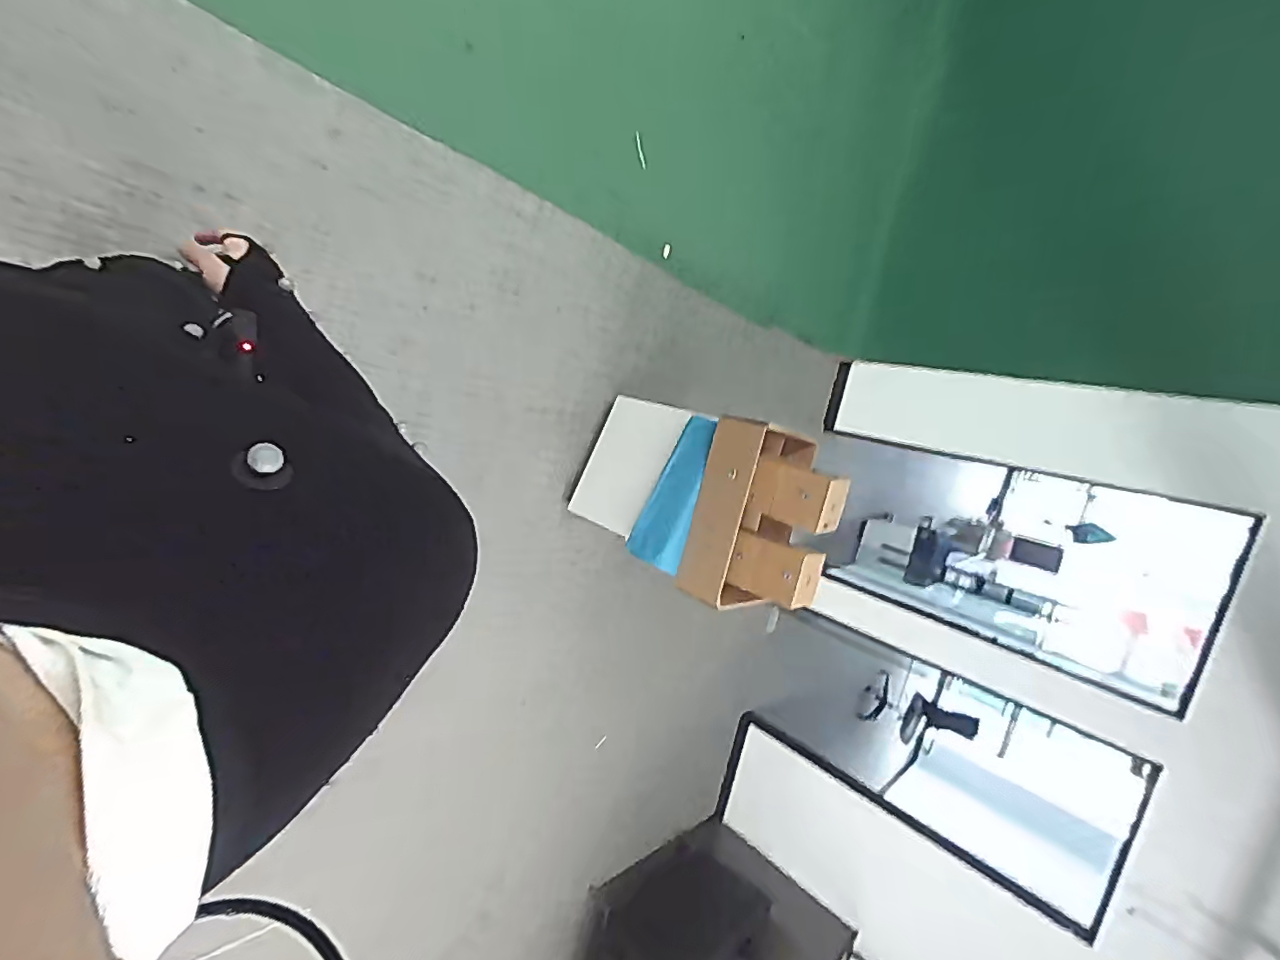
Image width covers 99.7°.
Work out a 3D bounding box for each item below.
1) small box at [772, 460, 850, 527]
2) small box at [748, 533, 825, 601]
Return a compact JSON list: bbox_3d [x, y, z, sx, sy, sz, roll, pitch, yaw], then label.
[{"bbox_3d":[0.545,0.038,1.739,0.168,0.176,0.179,-1,107,-48],"label":"small box"},{"bbox_3d":[0.472,0.276,1.754,0.168,0.176,0.179,8,98,-49],"label":"small box"}]
